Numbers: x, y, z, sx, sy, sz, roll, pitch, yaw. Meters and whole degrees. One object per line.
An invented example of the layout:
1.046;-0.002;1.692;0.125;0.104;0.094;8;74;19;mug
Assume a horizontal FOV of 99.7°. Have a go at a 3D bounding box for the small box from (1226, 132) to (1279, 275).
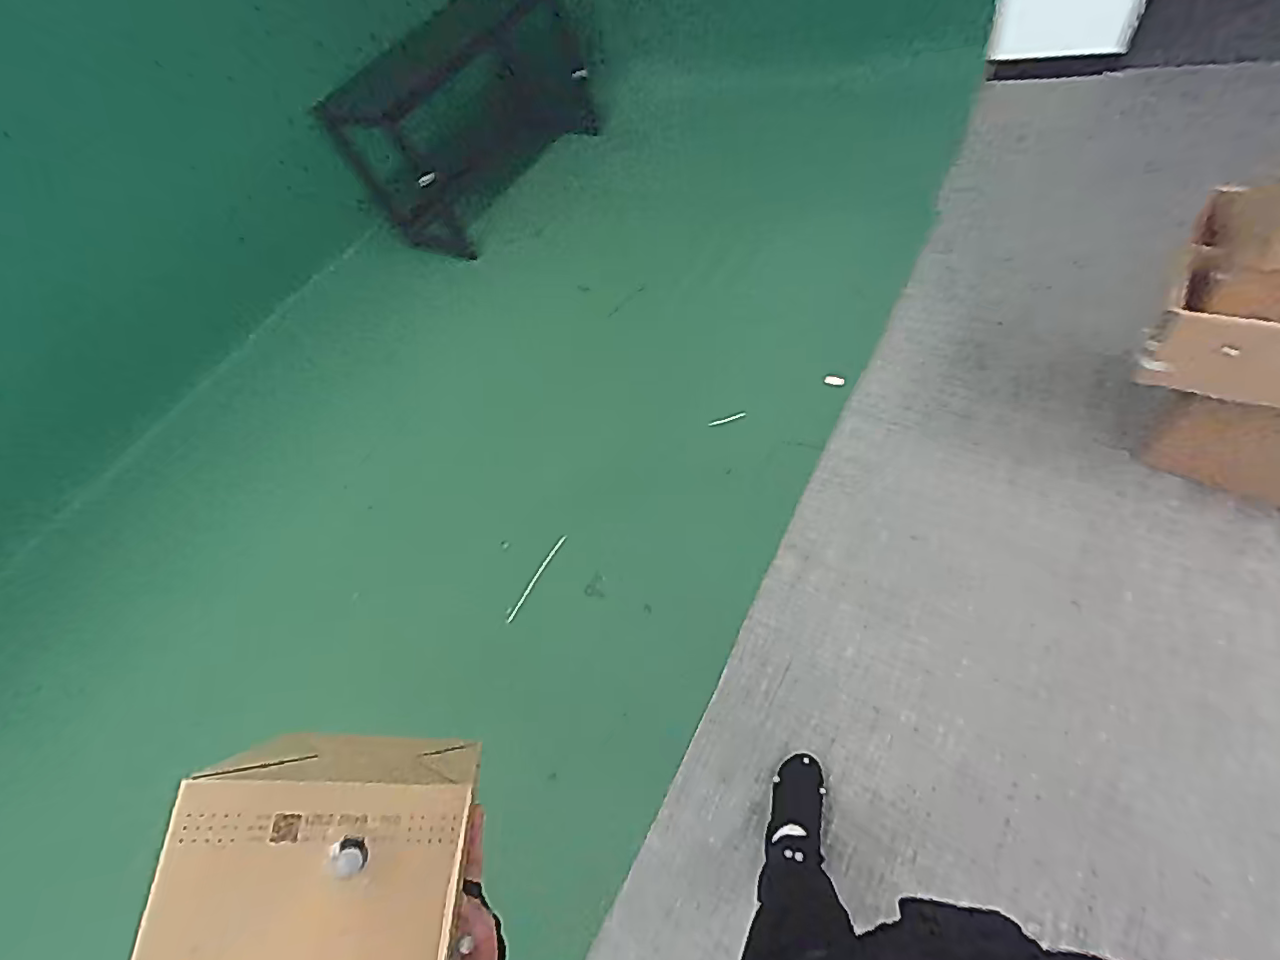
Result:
1.170;-0.479;0.924;0.168;0.176;0.179;4;60;22;small box
